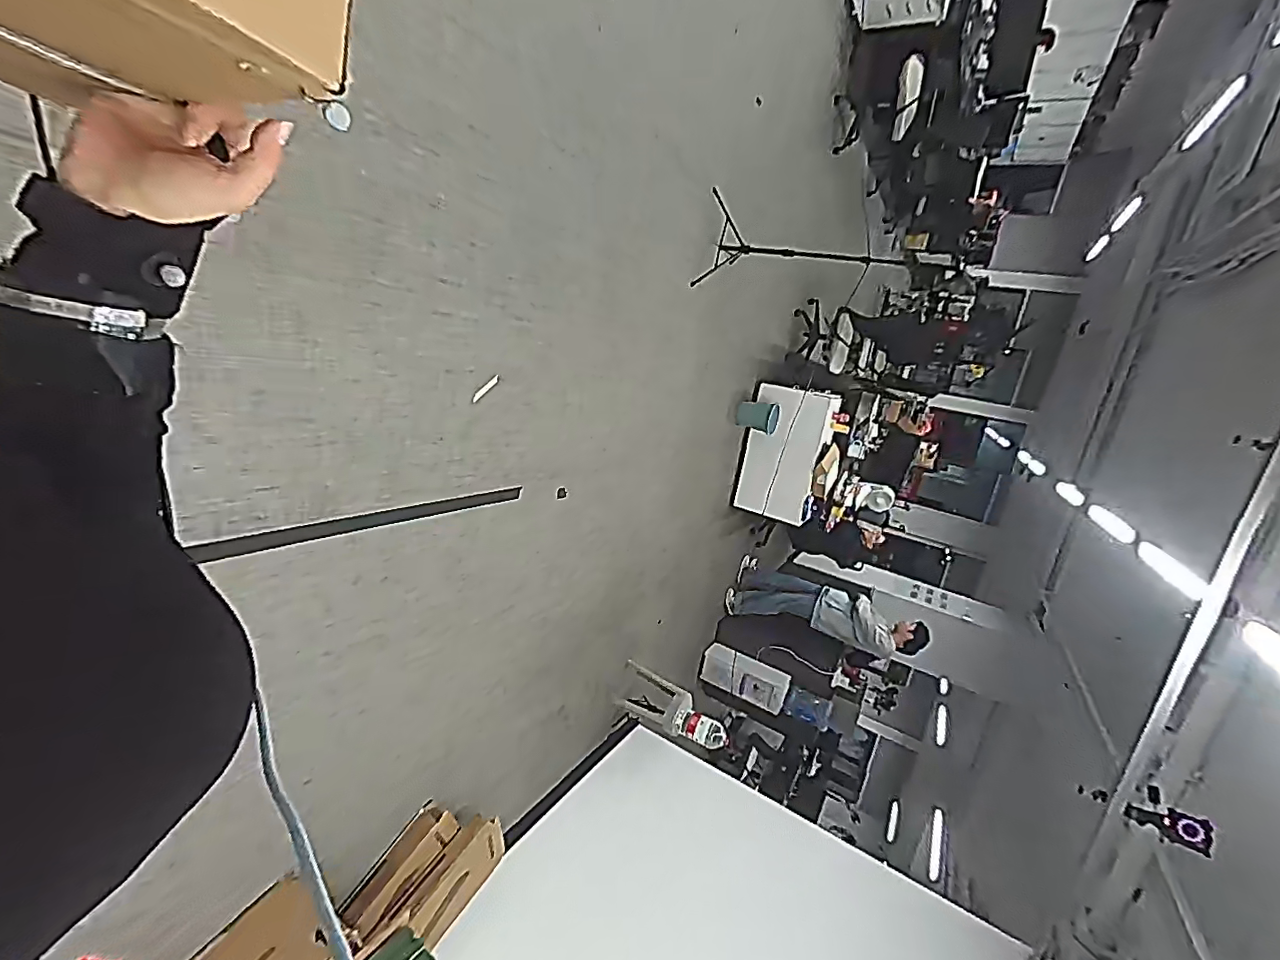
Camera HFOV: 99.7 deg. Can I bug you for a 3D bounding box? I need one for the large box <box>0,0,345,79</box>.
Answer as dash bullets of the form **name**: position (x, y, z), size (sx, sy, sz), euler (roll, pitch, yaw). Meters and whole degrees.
- **large box**: position (-0.320, -0.358, 0.096), size (0.408, 0.320, 0.320), euler (-12, 118, -63)
